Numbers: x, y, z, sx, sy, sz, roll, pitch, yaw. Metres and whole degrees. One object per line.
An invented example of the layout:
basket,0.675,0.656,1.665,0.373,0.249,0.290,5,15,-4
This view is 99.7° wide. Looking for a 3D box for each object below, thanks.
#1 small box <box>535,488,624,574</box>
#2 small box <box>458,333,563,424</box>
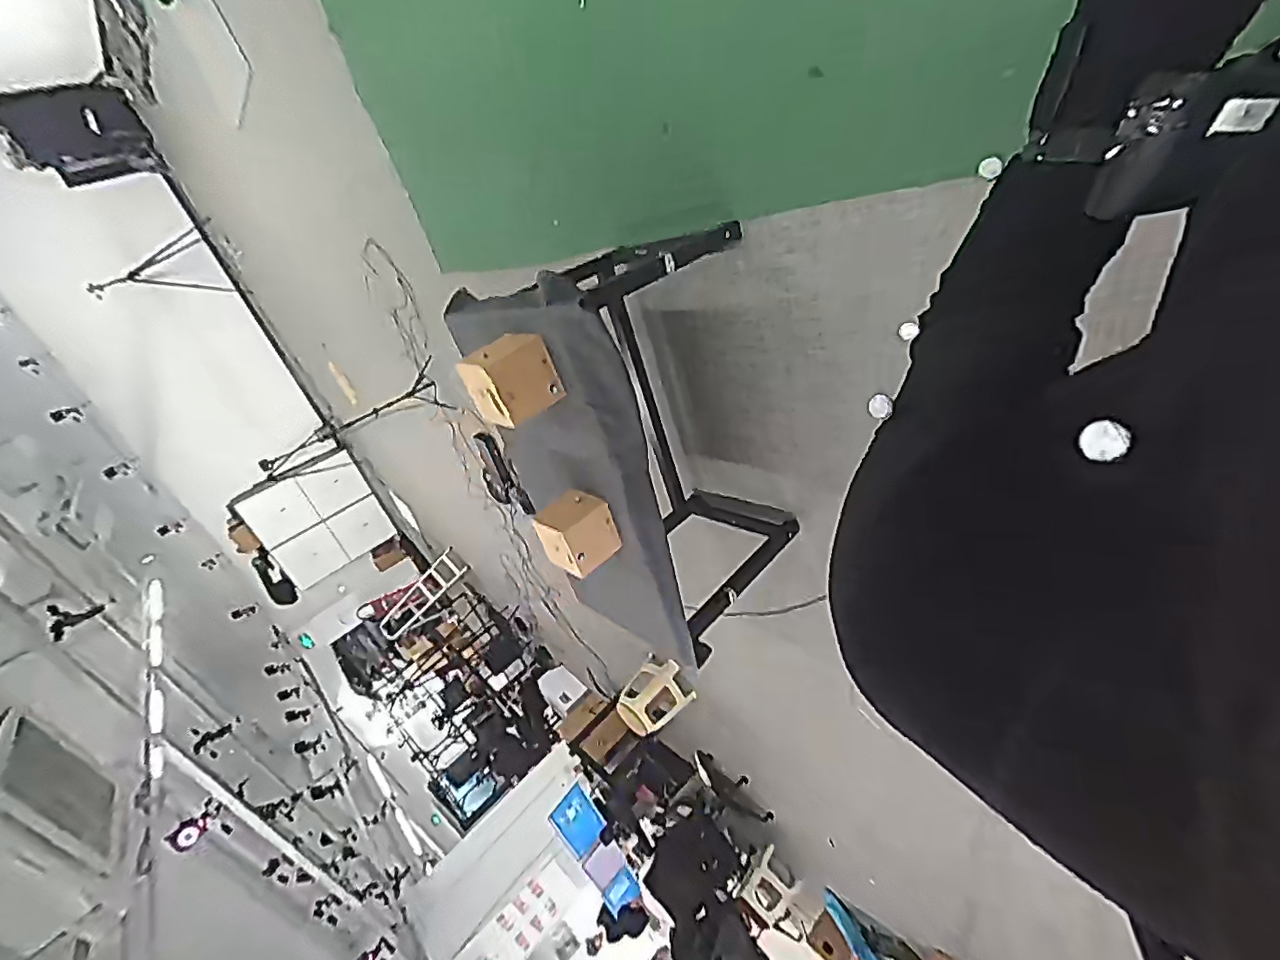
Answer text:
small box,-0.176,0.143,1.602,0.179,0.176,0.168,16,135,48
small box,-0.315,-0.260,1.358,0.179,0.176,0.168,17,138,48
